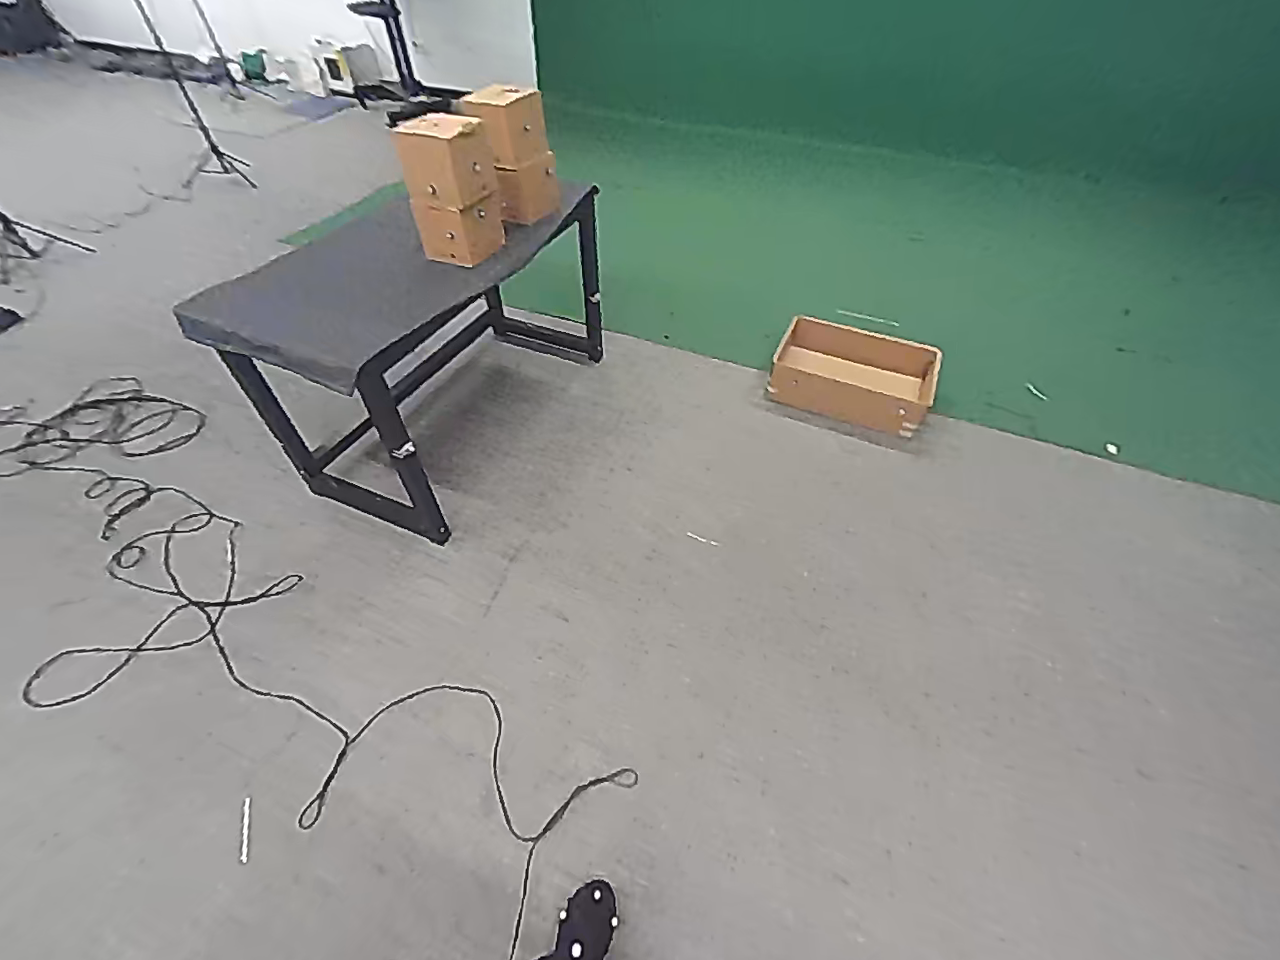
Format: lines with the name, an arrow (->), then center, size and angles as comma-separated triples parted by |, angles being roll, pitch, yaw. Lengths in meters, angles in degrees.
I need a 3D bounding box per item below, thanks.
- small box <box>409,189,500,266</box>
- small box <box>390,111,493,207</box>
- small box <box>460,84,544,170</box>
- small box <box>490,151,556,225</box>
small box -> -0.522, -0.739, 1.555 | 0.168, 0.176, 0.179 | 18, 49, 15
small box -> -0.513, -0.845, 1.429 | 0.179, 0.176, 0.168 | 19, 51, 15
small box -> -0.404, -1.057, 1.618 | 0.168, 0.176, 0.179 | 21, 52, 19
small box -> -0.386, -0.952, 1.744 | 0.168, 0.176, 0.179 | 22, 52, 20
